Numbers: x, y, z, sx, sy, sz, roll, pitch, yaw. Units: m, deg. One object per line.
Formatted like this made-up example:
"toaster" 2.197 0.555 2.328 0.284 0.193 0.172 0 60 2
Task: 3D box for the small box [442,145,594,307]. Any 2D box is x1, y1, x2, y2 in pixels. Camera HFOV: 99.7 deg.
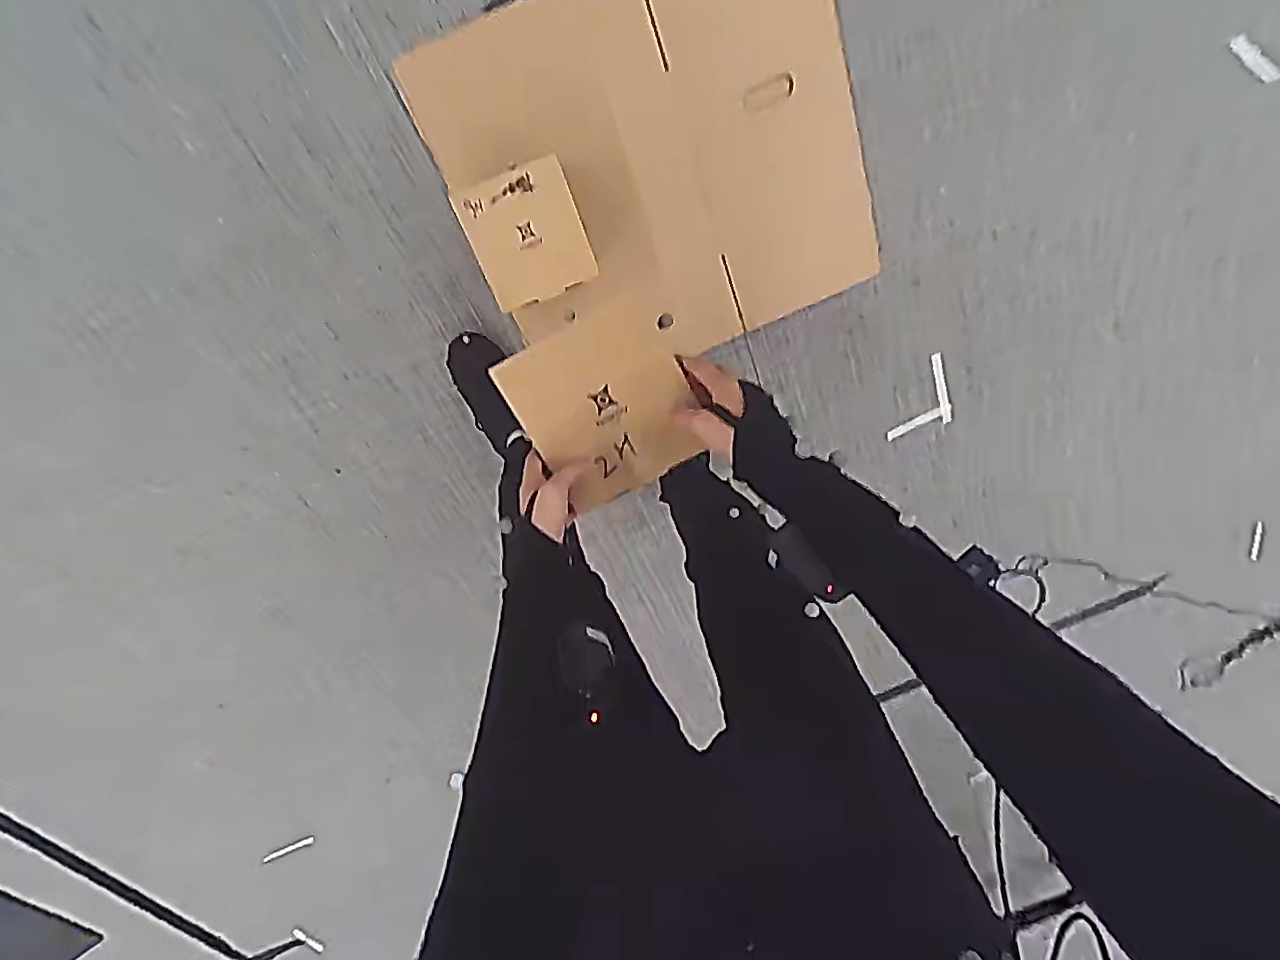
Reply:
"small box" -0.182 -0.398 0.849 0.168 0.176 0.179 -22 118 1

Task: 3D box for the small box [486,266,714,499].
"small box" -0.039 -0.110 0.599 0.168 0.176 0.179 -28 106 8
